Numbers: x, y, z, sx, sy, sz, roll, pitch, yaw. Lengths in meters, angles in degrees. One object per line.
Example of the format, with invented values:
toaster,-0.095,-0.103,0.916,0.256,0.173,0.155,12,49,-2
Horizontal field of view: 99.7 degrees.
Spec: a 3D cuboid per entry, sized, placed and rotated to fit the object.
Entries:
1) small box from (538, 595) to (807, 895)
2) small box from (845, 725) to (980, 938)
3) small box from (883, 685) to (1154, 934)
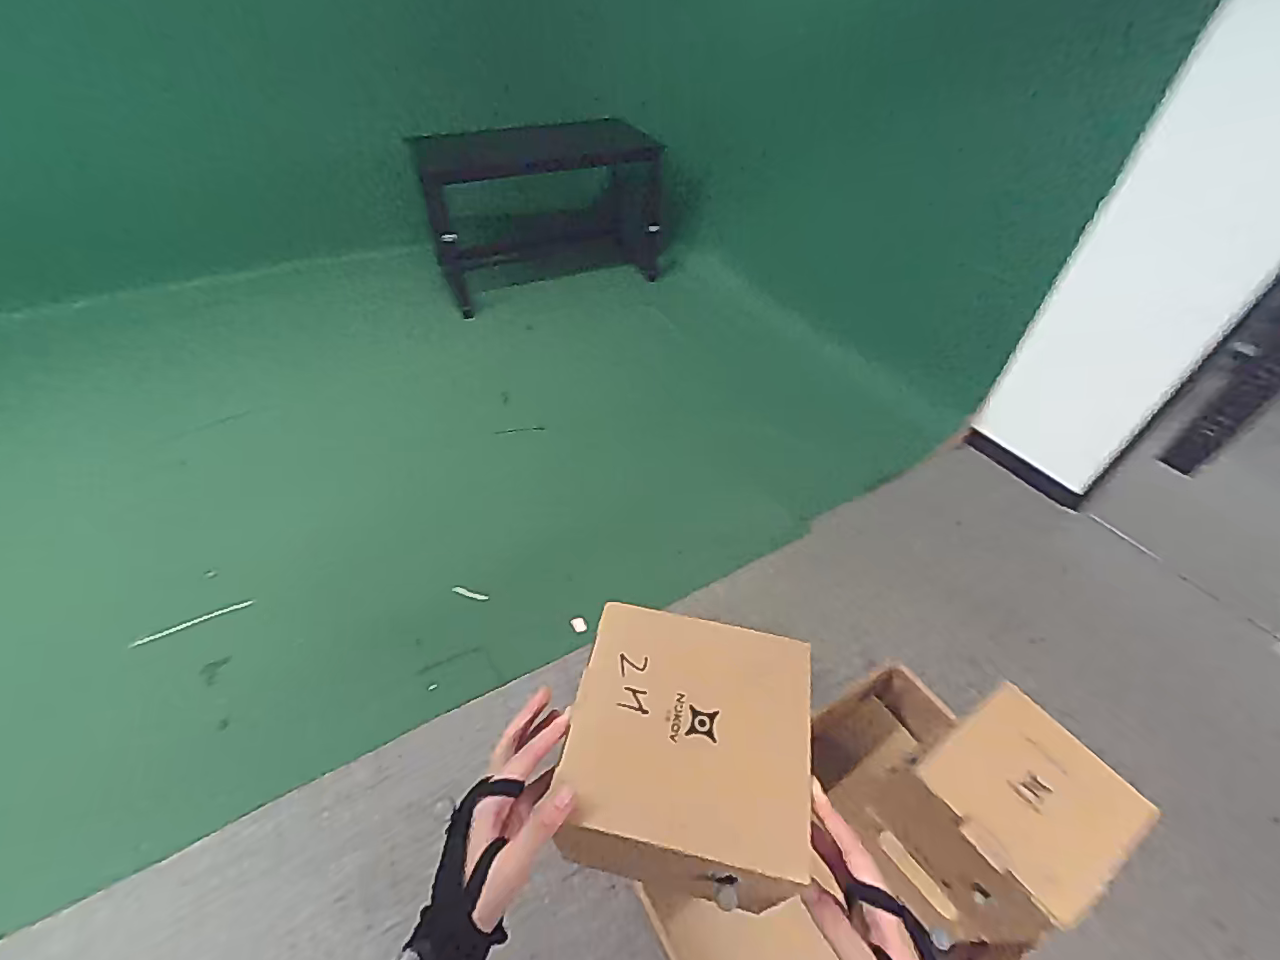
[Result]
small box,0.031,0.226,0.458,0.179,0.176,0.168,10,47,7
small box,0.409,0.486,0.746,0.179,0.176,0.168,-28,53,-23
small box,0.410,0.380,0.623,0.179,0.176,0.168,-26,53,-21
